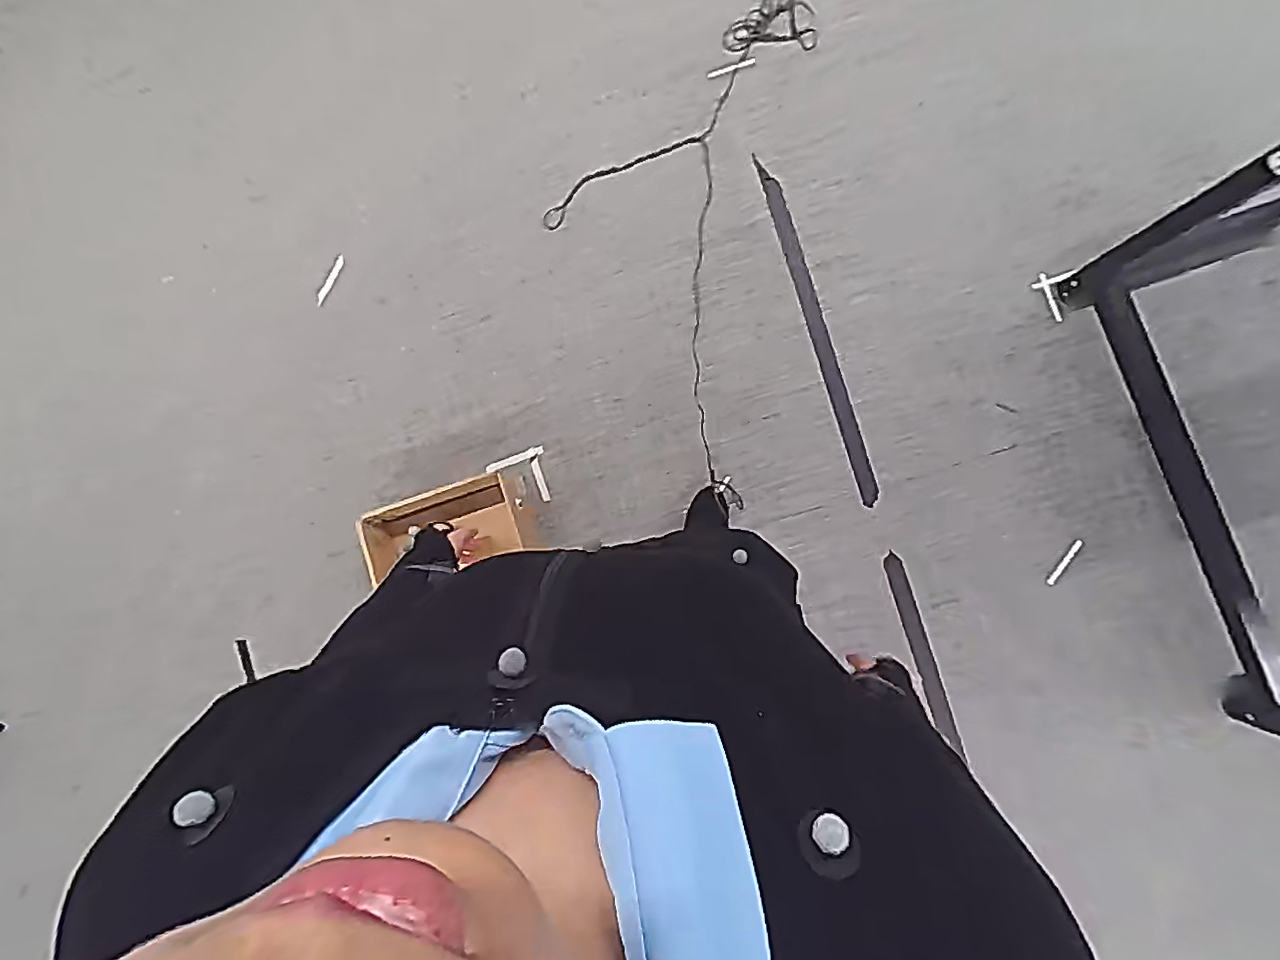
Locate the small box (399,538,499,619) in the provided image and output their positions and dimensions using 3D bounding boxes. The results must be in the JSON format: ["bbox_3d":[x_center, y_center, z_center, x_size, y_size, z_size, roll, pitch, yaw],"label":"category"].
[{"bbox_3d":[-0.490,0.250,1.403,0.179,0.176,0.168,-13,86,3],"label":"small box"}]
